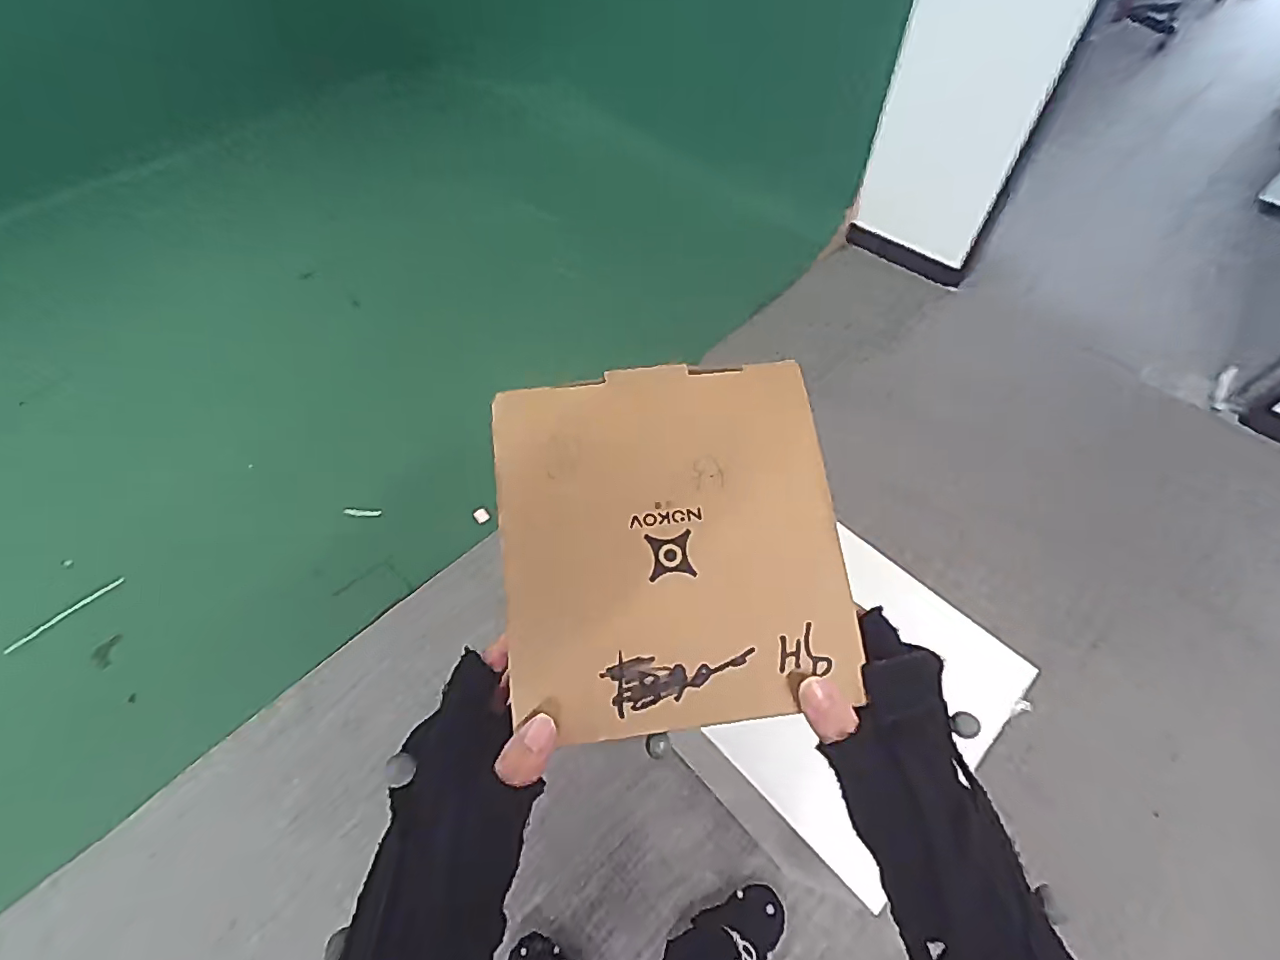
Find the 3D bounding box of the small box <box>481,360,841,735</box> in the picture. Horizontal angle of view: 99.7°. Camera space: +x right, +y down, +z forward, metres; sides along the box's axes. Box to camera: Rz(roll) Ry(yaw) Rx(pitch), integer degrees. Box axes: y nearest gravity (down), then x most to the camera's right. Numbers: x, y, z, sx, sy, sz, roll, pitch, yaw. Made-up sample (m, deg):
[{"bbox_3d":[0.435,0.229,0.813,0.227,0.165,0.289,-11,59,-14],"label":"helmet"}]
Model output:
[{"bbox_3d":[0.003,0.046,0.349,0.168,0.176,0.179,-7,76,-2],"label":"small box"}]
